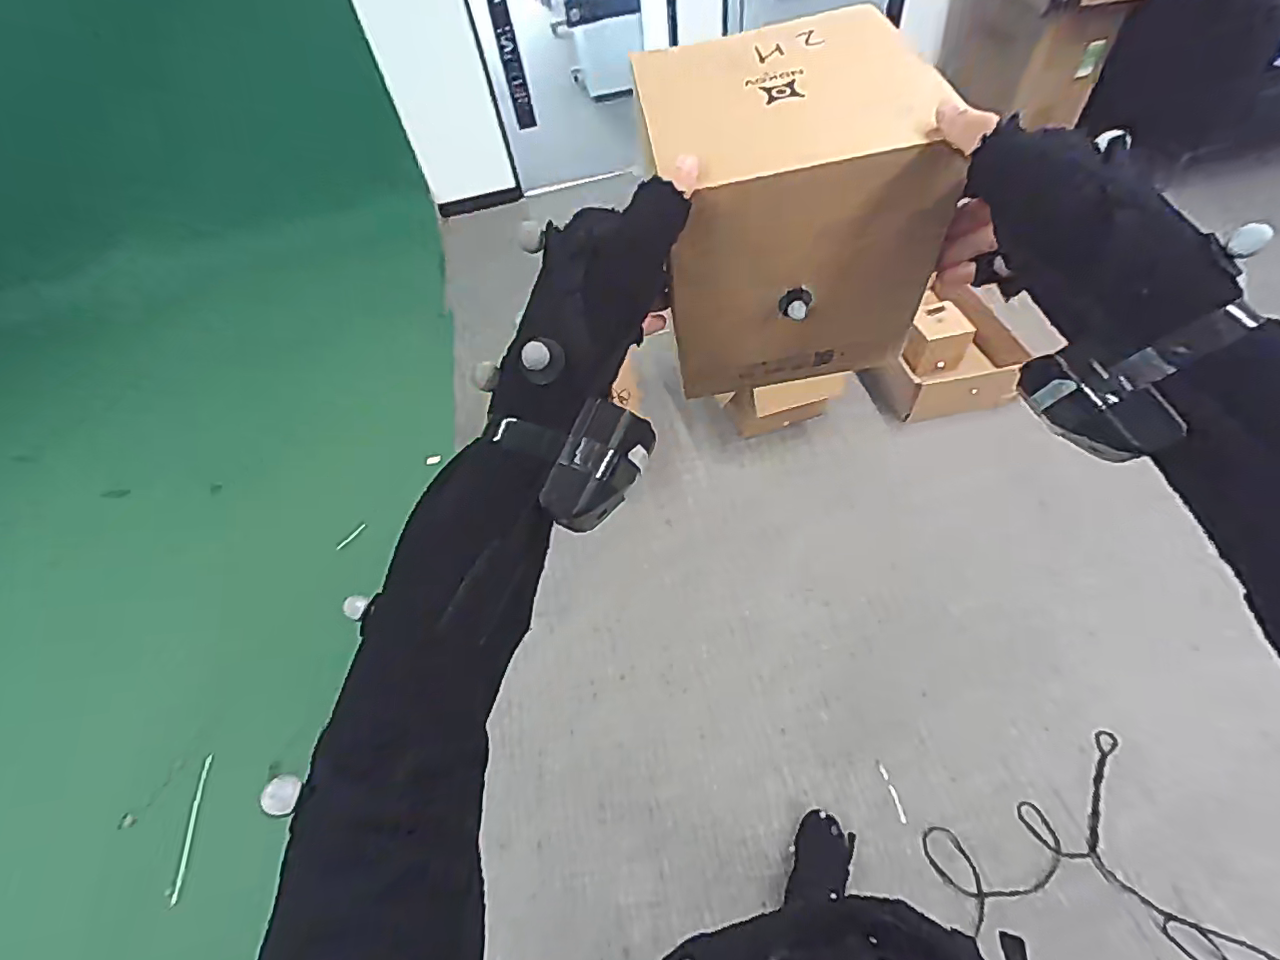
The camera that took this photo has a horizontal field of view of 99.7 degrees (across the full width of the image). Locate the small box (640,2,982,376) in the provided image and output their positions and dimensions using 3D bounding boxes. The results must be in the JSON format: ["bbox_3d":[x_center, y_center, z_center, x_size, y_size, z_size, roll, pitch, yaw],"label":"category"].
[{"bbox_3d":[0.100,-0.193,0.391,0.168,0.176,0.179,-9,57,4],"label":"small box"}]

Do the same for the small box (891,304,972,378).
[{"bbox_3d":[1.000,-0.480,1.877,0.168,0.176,0.179,-12,52,-2],"label":"small box"}]
